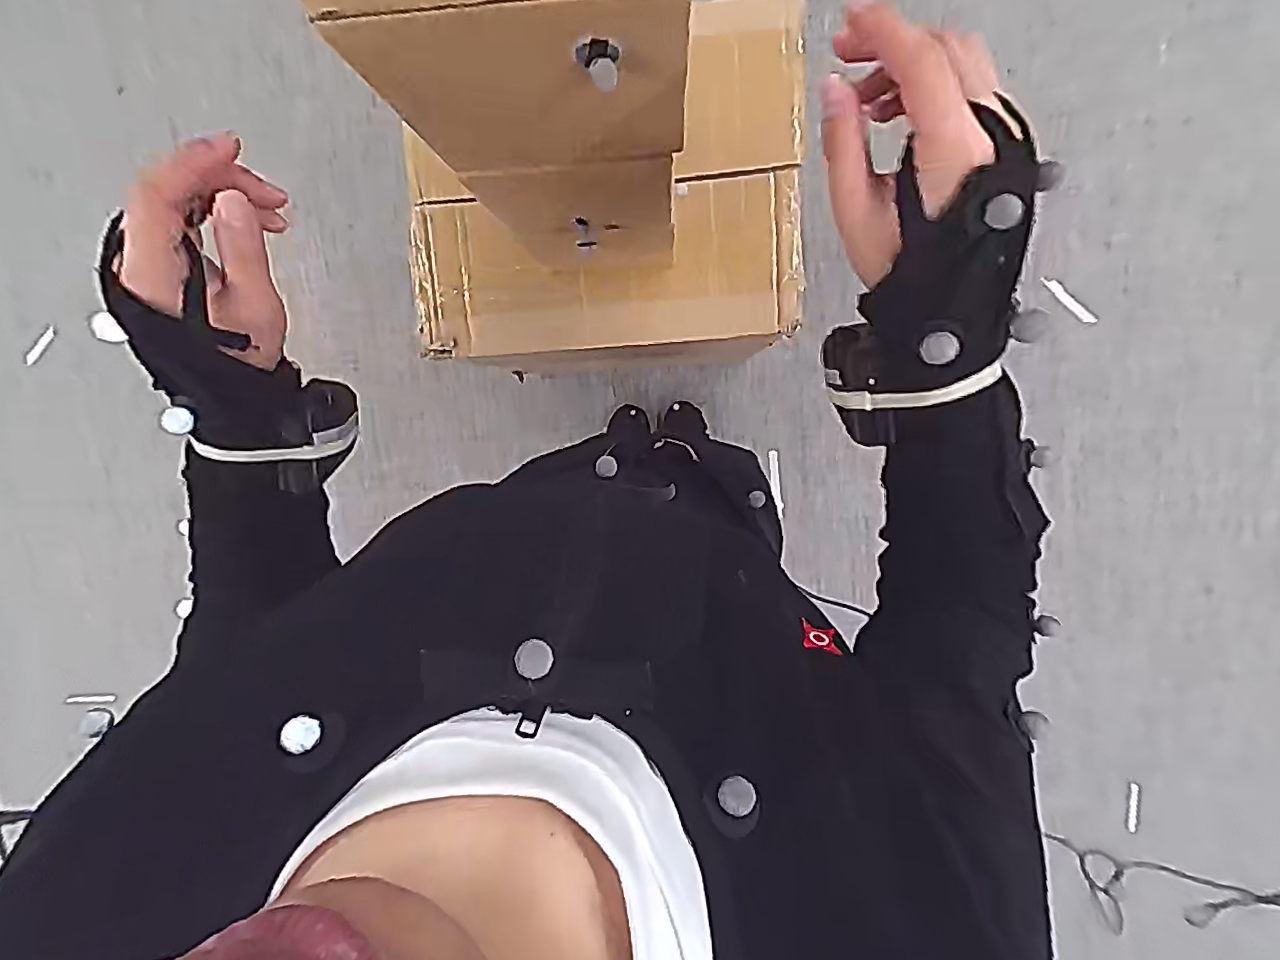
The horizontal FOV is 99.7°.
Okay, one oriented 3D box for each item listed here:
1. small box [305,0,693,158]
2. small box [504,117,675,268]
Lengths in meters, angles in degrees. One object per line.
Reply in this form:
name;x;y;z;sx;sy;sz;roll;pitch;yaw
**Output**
small box;-0.062;-0.306;0.302;0.179;0.176;0.168;-2;98;4
small box;-0.049;-0.352;0.627;0.179;0.176;0.168;-2;98;3
